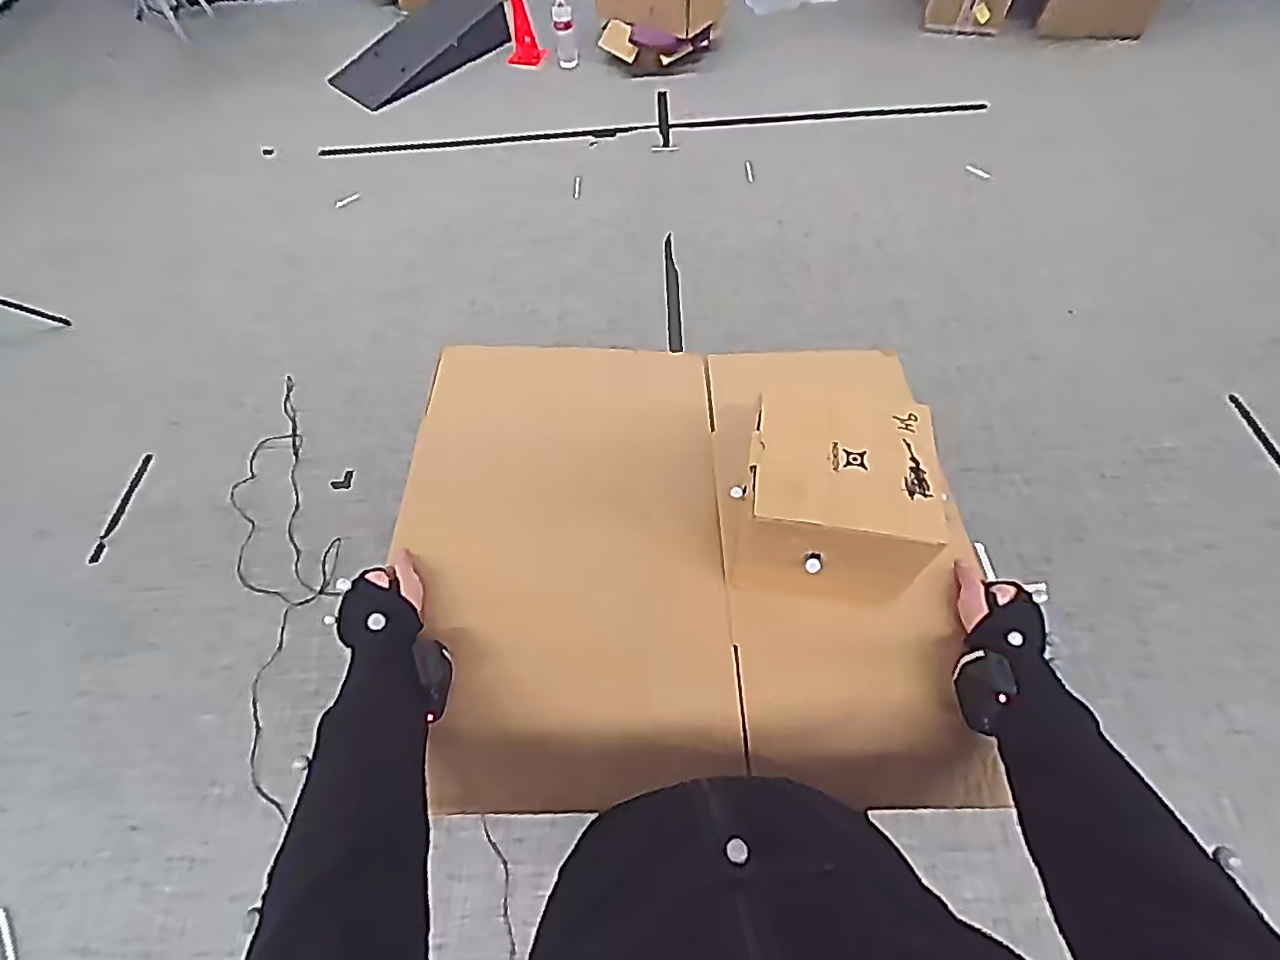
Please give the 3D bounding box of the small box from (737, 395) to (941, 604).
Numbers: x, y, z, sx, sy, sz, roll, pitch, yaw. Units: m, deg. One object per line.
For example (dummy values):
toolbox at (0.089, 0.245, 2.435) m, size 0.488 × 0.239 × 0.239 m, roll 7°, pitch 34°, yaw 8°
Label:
small box at (0.207, 0.026, 0.609) m, size 0.179 × 0.176 × 0.168 m, roll 7°, pitch 58°, yaw 8°
